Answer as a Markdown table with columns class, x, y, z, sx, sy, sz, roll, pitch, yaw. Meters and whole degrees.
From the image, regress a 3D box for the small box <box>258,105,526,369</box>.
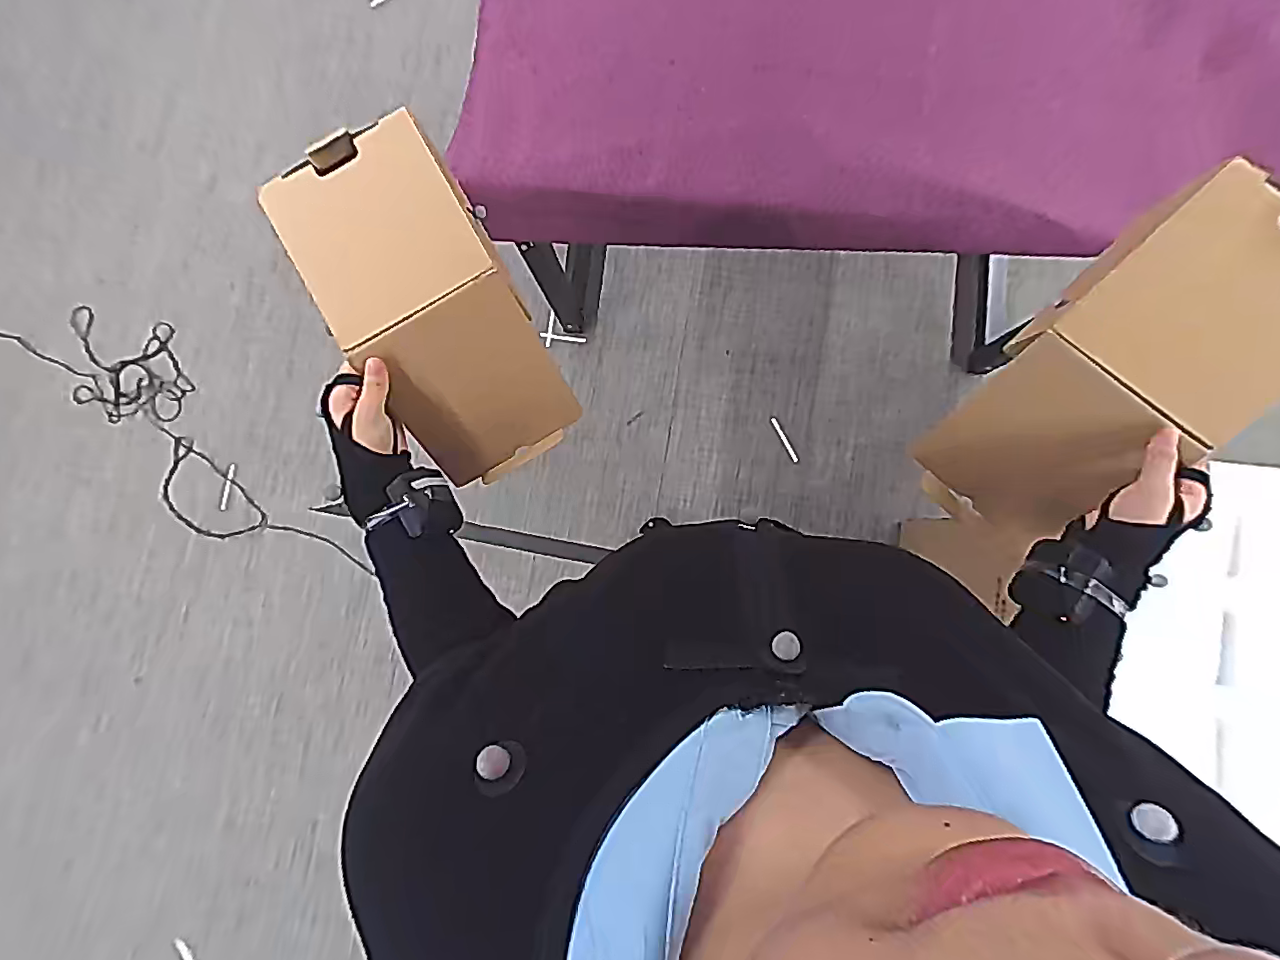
| class | x | y | z | sx | sy | sz | roll | pitch | yaw |
| --- | --- | --- | --- | --- | --- | --- | --- | --- | --- |
| small box | -0.243 | -0.235 | 0.580 | 0.168 | 0.176 | 0.179 | -29 | 89 | 0 |
